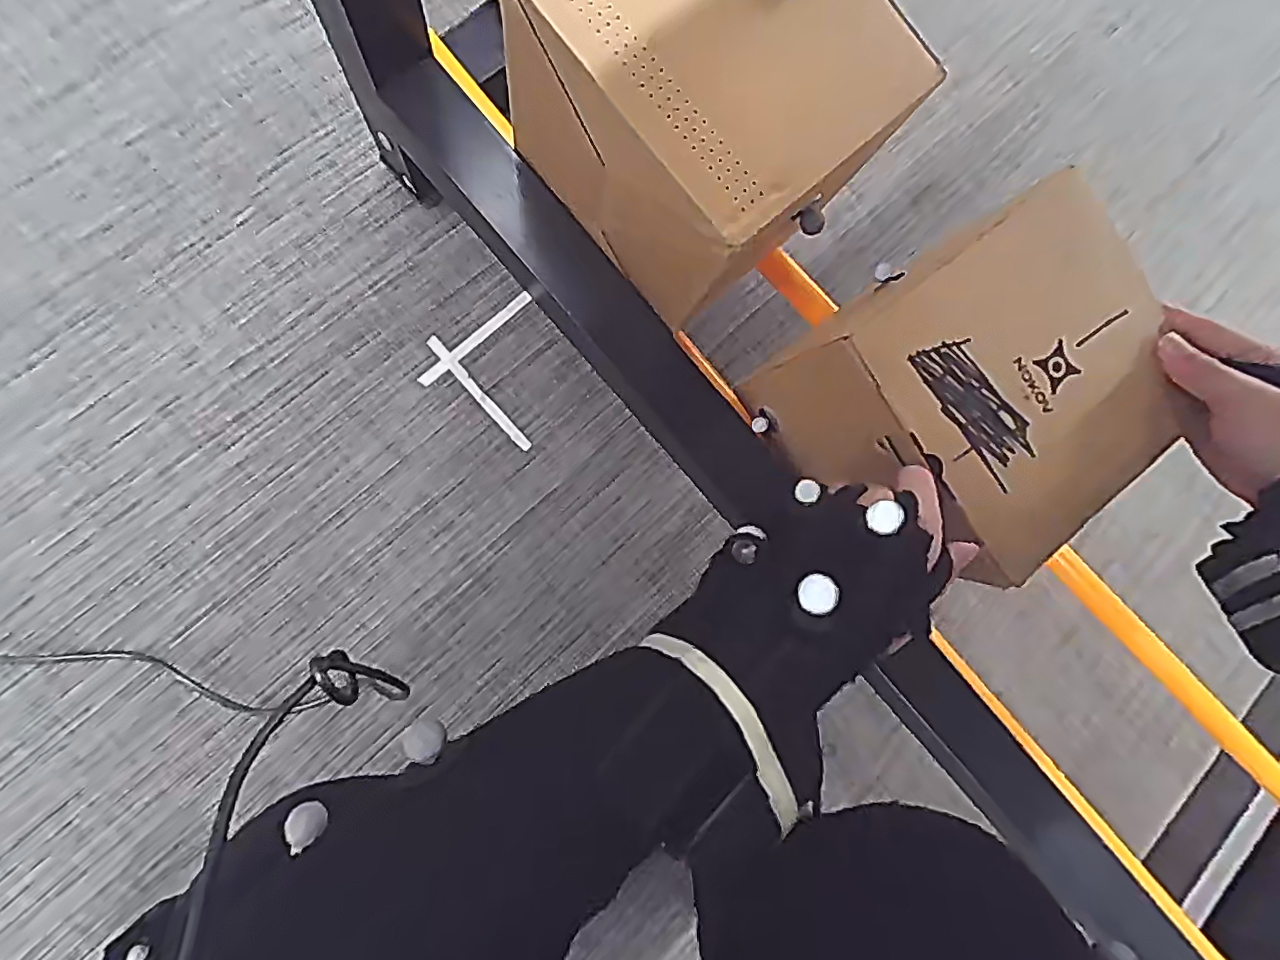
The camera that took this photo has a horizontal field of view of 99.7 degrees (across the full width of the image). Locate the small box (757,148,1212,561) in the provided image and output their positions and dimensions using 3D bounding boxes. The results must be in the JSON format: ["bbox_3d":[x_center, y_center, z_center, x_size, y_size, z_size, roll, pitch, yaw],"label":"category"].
[{"bbox_3d":[0.204,-0.069,0.372,0.179,0.176,0.168,-37,97,-9],"label":"small box"}]
